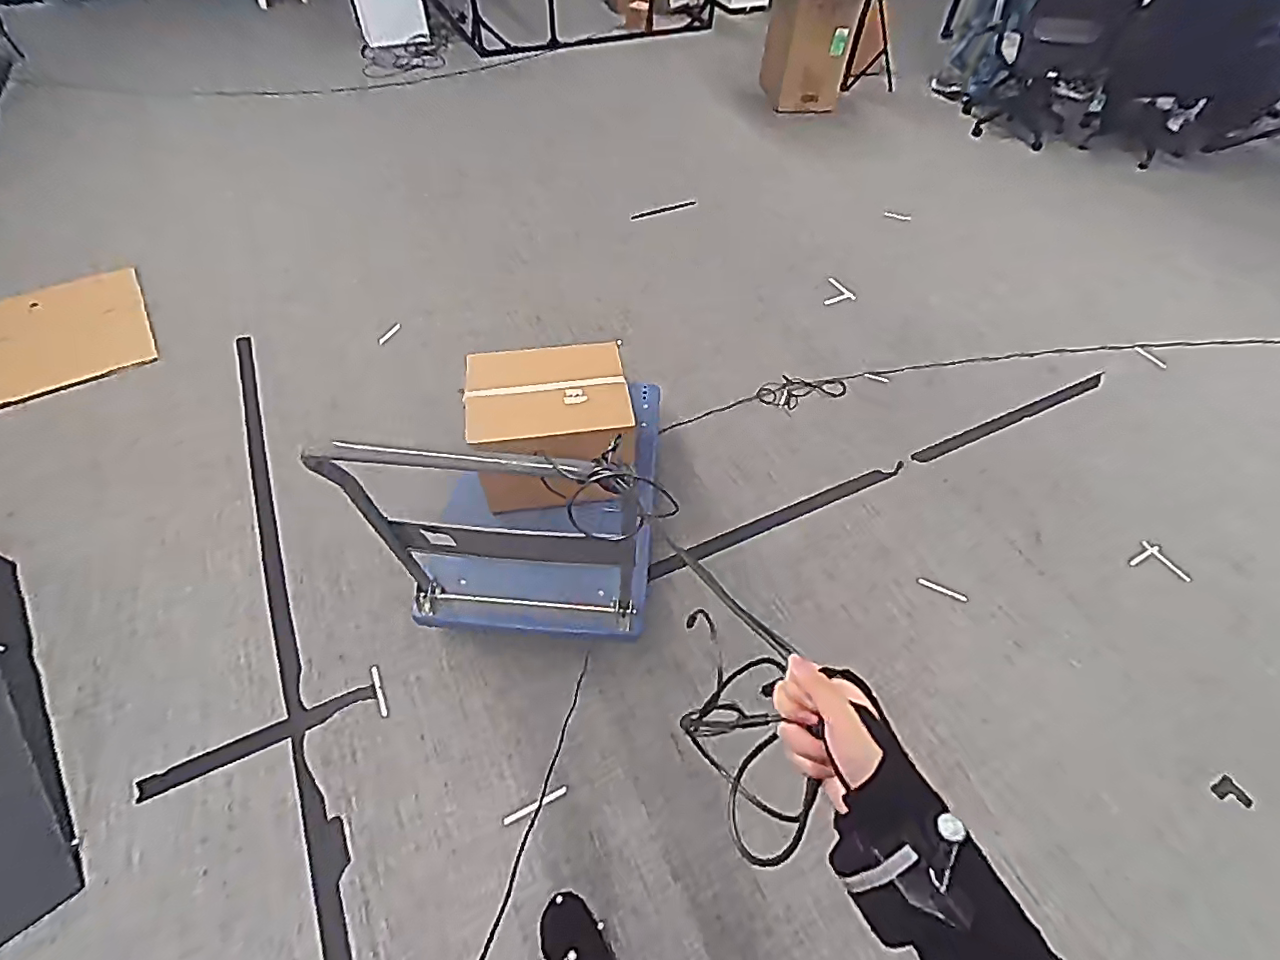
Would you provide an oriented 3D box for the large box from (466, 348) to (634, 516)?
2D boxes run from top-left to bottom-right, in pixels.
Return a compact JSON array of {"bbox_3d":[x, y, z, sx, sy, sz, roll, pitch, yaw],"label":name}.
[{"bbox_3d":[-0.244,-0.129,1.486,0.408,0.320,0.320,-7,55,-8],"label":"large box"}]
